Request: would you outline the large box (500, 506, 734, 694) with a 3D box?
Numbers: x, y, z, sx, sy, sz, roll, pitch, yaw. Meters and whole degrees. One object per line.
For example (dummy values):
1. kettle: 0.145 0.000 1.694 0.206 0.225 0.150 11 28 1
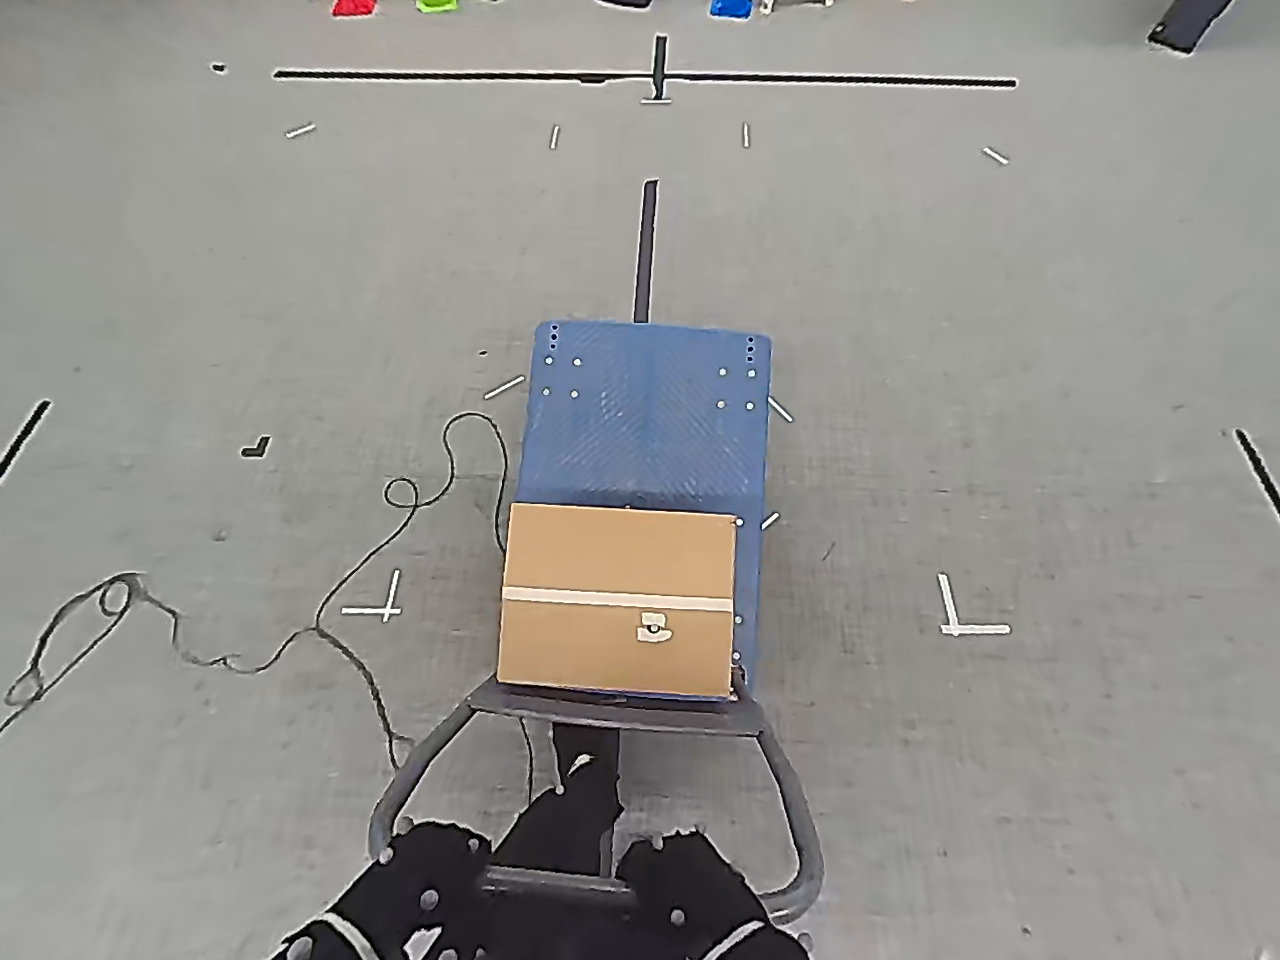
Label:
1. large box: -0.038 0.225 1.089 0.408 0.320 0.320 3 84 1
